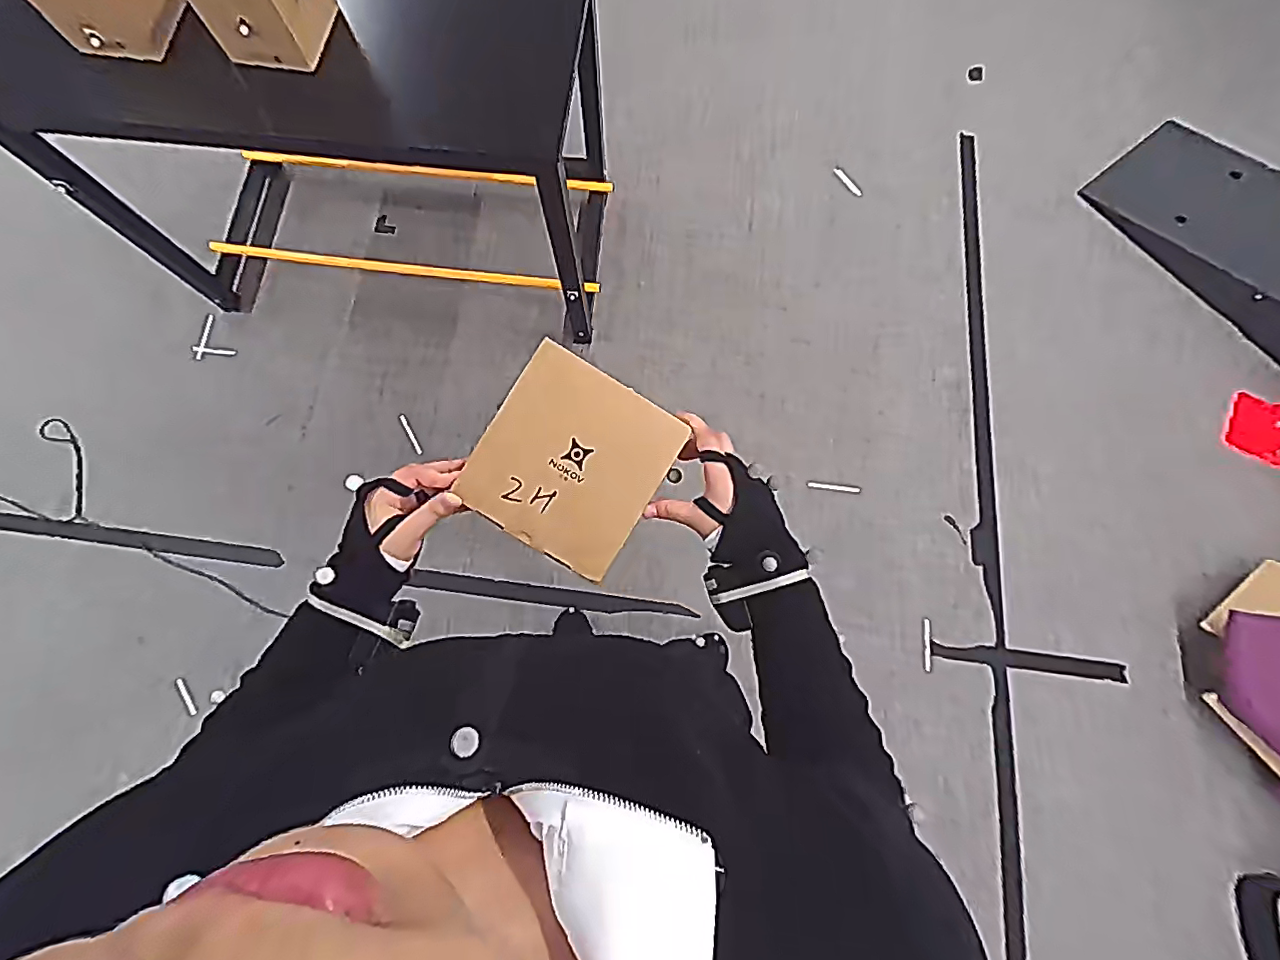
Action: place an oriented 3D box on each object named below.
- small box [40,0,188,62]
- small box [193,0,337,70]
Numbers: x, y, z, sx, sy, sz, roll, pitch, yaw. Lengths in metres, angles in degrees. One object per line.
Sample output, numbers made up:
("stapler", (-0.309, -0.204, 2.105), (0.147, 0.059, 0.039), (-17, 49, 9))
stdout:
("small box", (-0.986, -0.918, 0.989), (0.168, 0.176, 0.179), (6, 76, 2))
("small box", (-0.688, -0.895, 0.983), (0.168, 0.176, 0.179), (8, 76, 1))
